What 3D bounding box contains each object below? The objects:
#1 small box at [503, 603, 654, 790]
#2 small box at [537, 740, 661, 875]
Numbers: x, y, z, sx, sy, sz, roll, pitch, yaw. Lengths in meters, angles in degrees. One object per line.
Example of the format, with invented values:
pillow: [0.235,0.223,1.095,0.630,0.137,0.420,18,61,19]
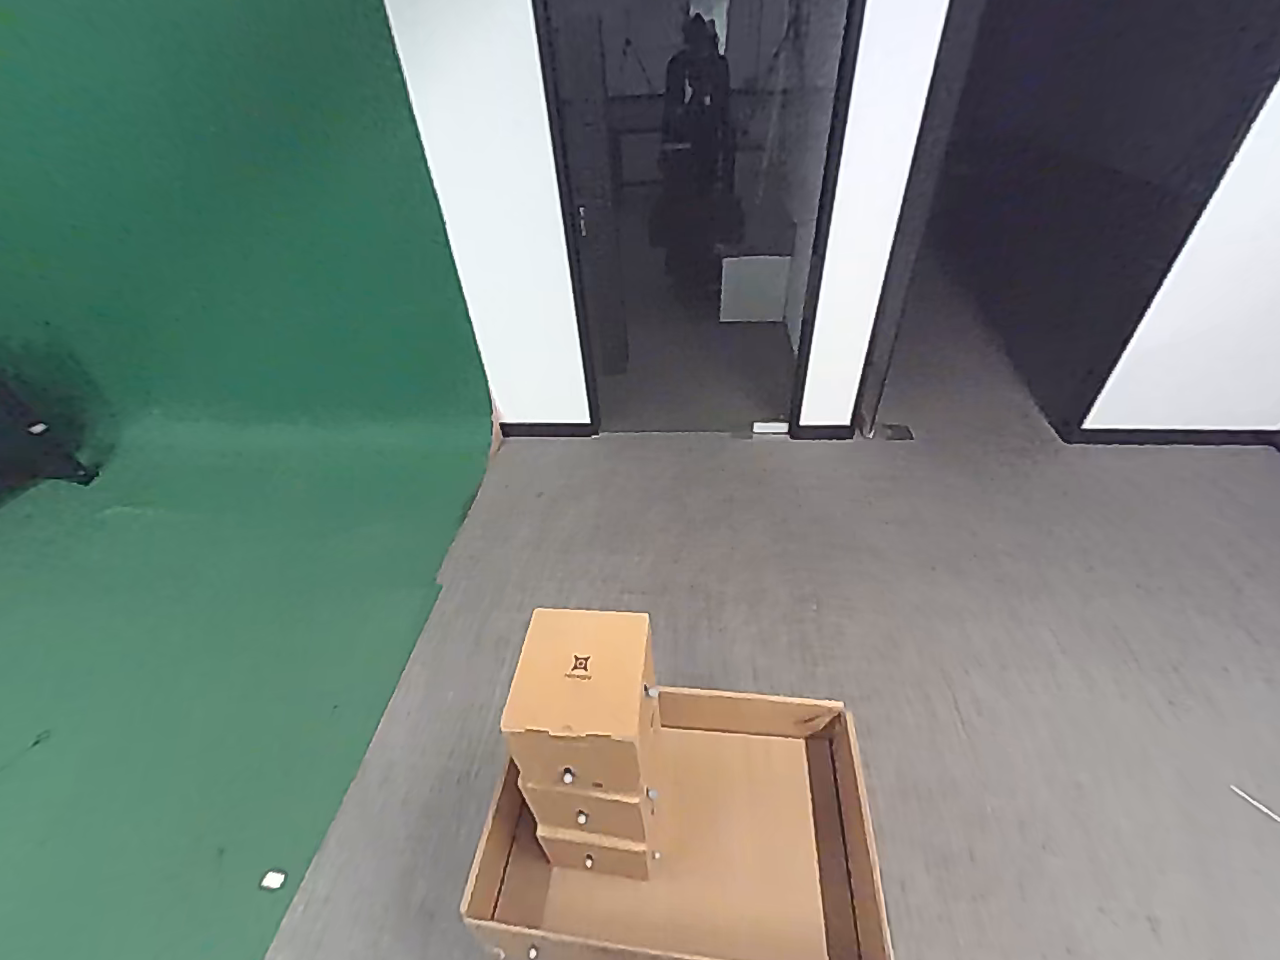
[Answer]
small box: [-0.071,0.295,0.745,0.168,0.176,0.179,1,41,7]
small box: [-0.059,0.558,0.938,0.179,0.176,0.168,3,40,9]
